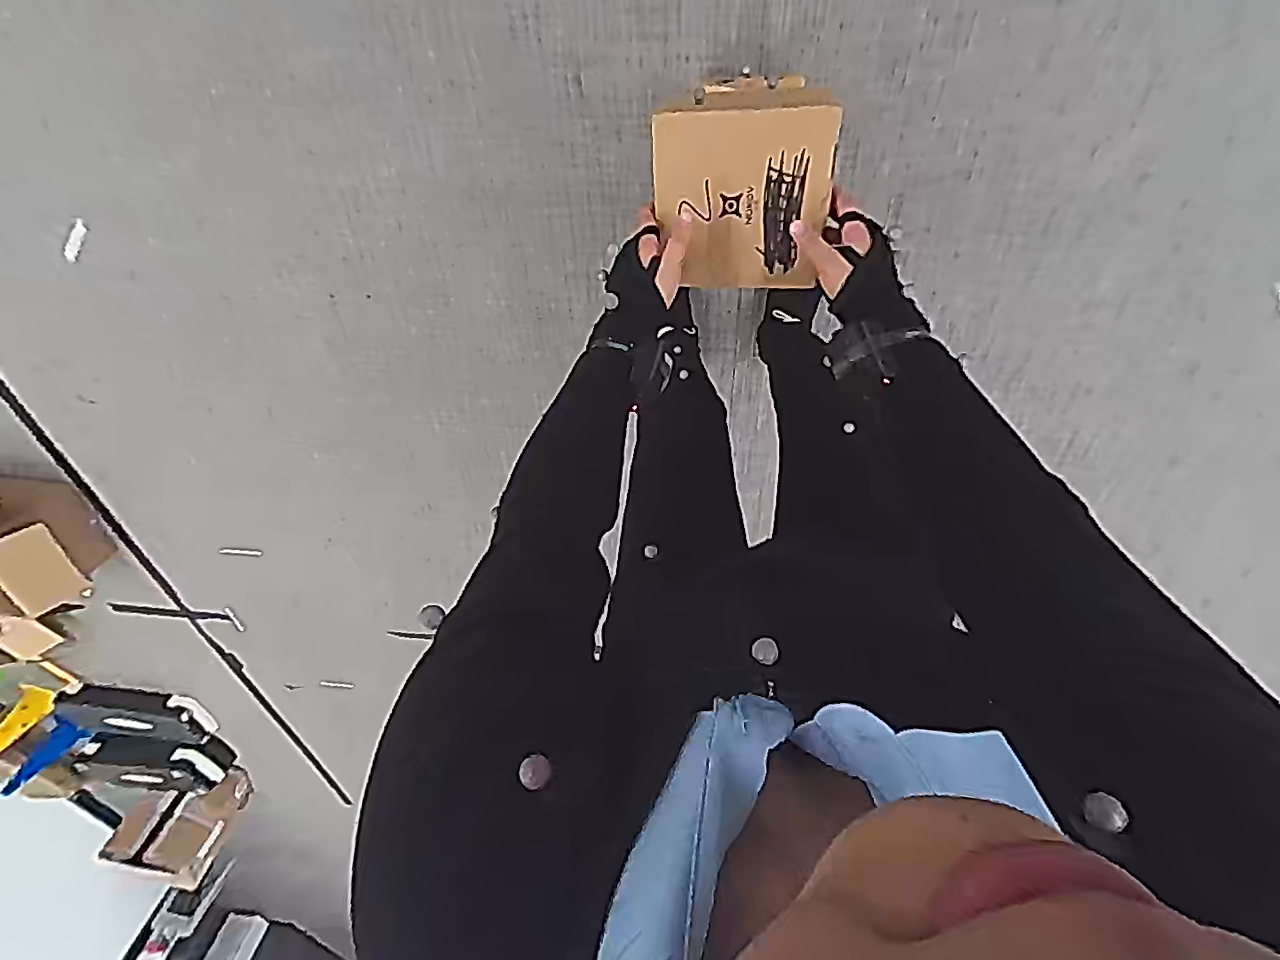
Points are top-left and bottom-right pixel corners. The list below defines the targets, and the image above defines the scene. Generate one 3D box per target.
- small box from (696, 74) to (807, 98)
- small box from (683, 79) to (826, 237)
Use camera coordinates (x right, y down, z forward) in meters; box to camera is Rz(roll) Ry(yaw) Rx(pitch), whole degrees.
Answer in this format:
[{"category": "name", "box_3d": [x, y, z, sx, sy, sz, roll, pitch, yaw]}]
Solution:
[{"category": "small box", "box_3d": [0.180, -0.579, 0.921, 0.168, 0.176, 0.179, 1, 127, 7]}, {"category": "small box", "box_3d": [0.156, -0.477, 0.795, 0.168, 0.176, 0.179, 7, 128, 3]}]
